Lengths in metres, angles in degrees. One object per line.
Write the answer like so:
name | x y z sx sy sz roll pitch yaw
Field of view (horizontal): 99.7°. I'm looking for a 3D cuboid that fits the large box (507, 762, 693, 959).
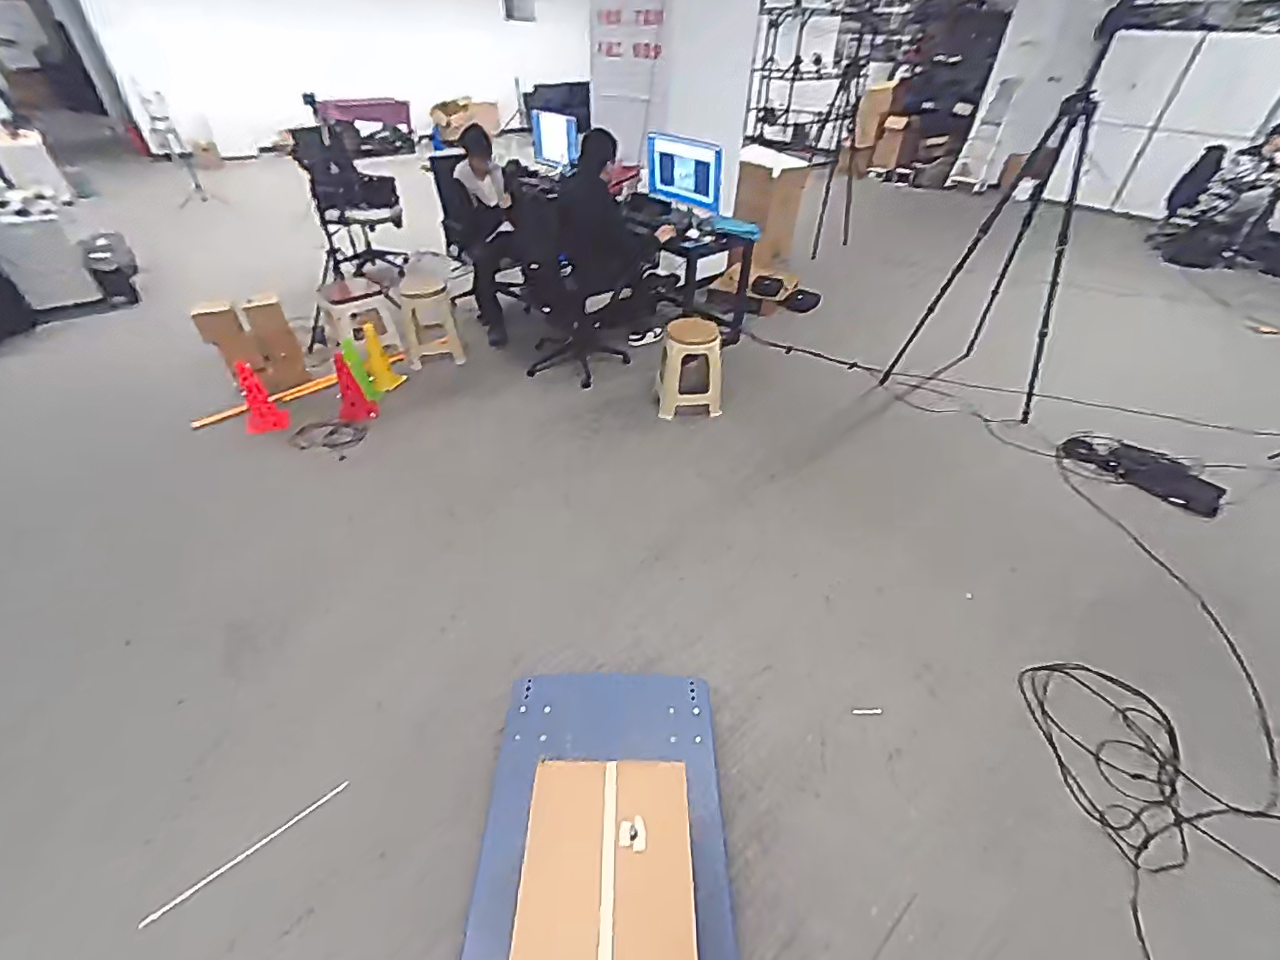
large box | -0.072 0.844 1.089 0.320 0.320 0.408 2 38 -1
